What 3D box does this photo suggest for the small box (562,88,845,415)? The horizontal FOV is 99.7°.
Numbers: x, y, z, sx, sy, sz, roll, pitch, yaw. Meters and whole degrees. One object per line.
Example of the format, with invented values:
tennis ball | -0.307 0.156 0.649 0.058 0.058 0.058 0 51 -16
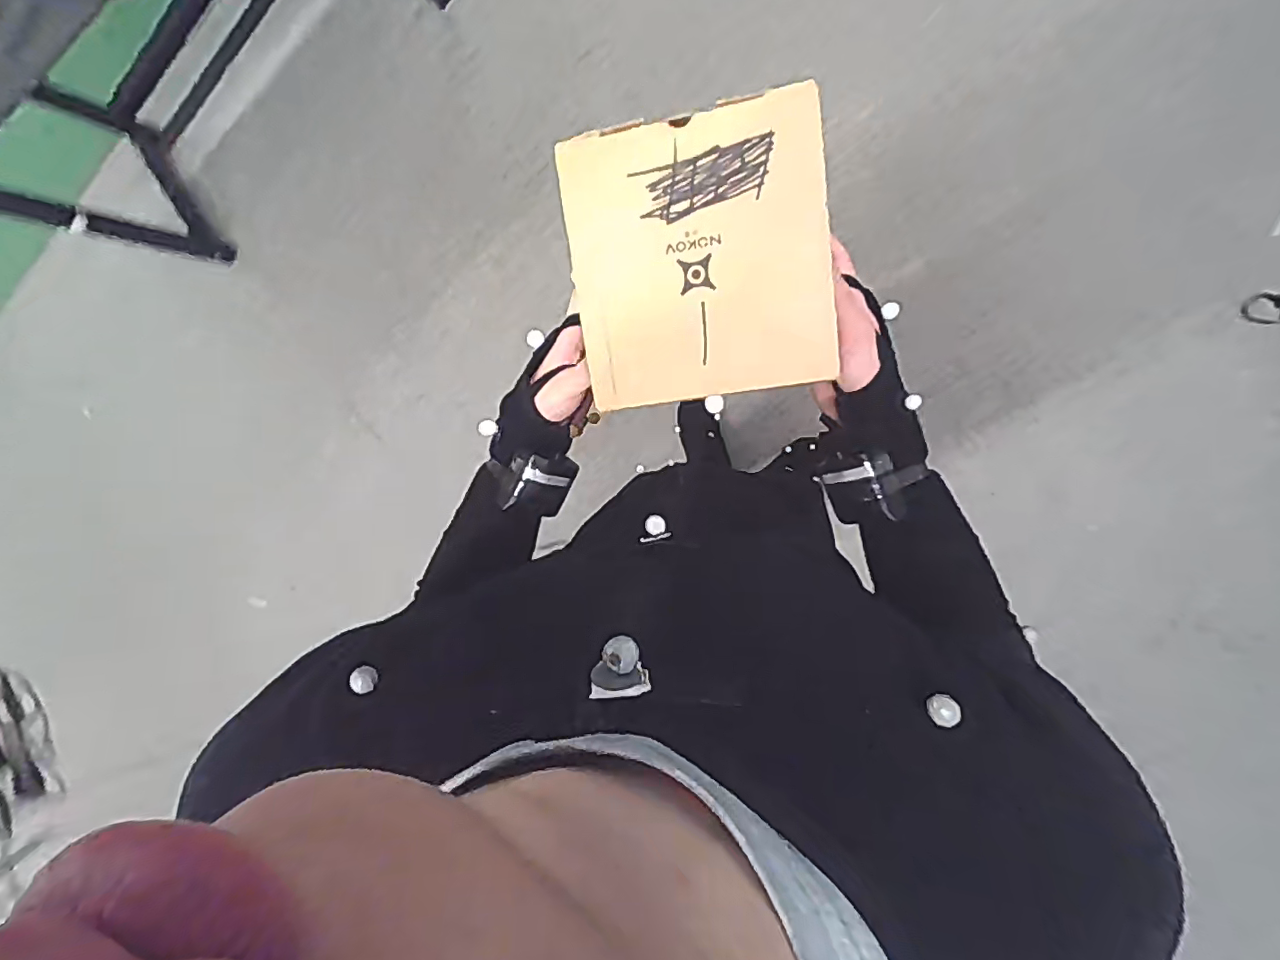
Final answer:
small box | 0.054 -0.151 0.422 0.168 0.176 0.179 -7 99 13
